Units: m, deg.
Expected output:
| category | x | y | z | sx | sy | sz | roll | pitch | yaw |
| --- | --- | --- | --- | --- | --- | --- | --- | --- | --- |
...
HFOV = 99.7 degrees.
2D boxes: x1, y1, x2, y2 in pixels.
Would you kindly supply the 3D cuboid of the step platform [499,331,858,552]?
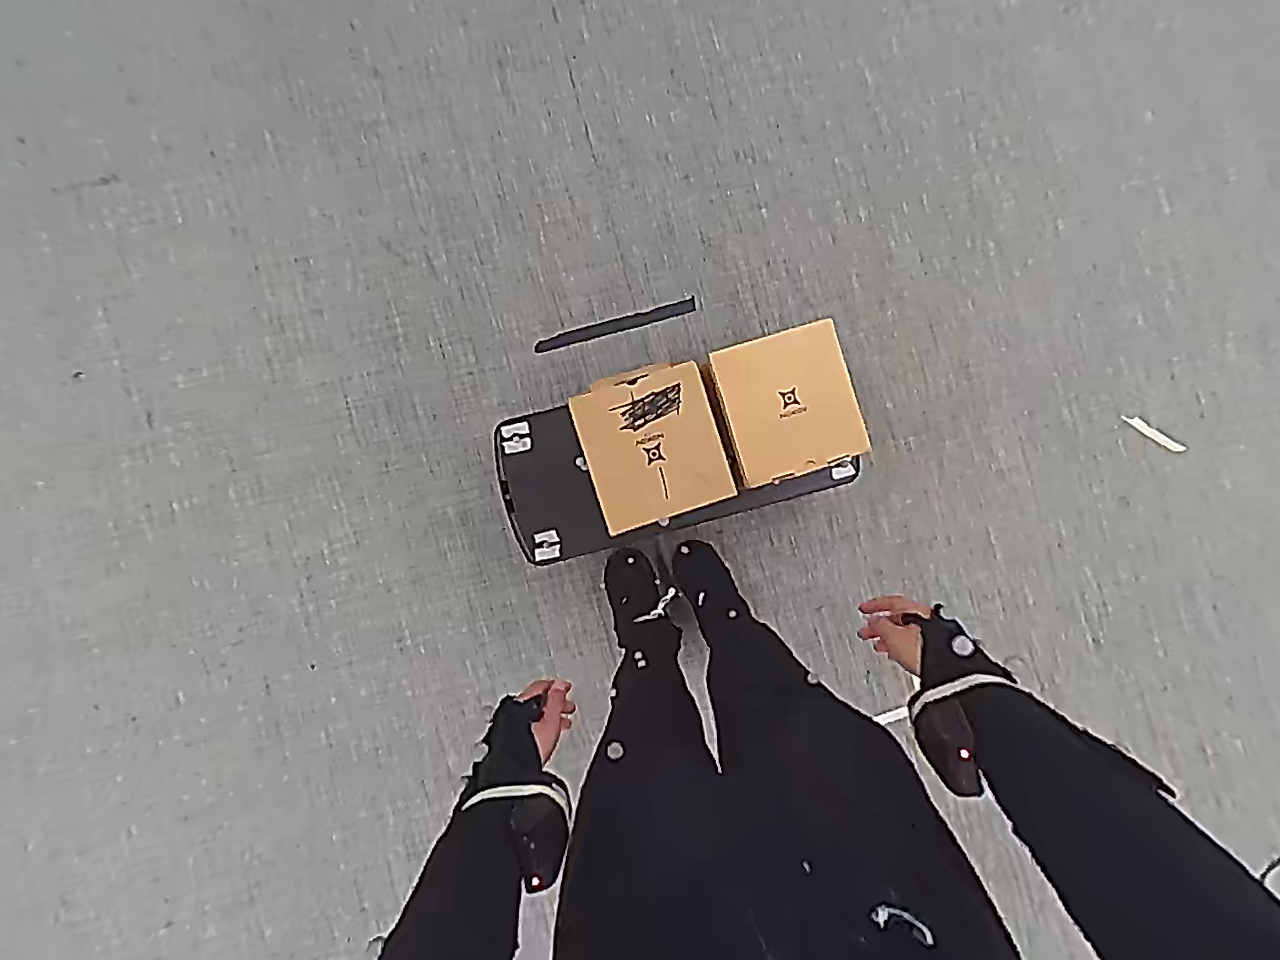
| category | x | y | z | sx | sy | sz | roll | pitch | yaw |
| --- | --- | --- | --- | --- | --- | --- | --- | --- | --- |
| step platform | 0.074 | -0.073 | 1.082 | 0.684 | 0.204 | 0.286 | -15 | 89 | -3 |
